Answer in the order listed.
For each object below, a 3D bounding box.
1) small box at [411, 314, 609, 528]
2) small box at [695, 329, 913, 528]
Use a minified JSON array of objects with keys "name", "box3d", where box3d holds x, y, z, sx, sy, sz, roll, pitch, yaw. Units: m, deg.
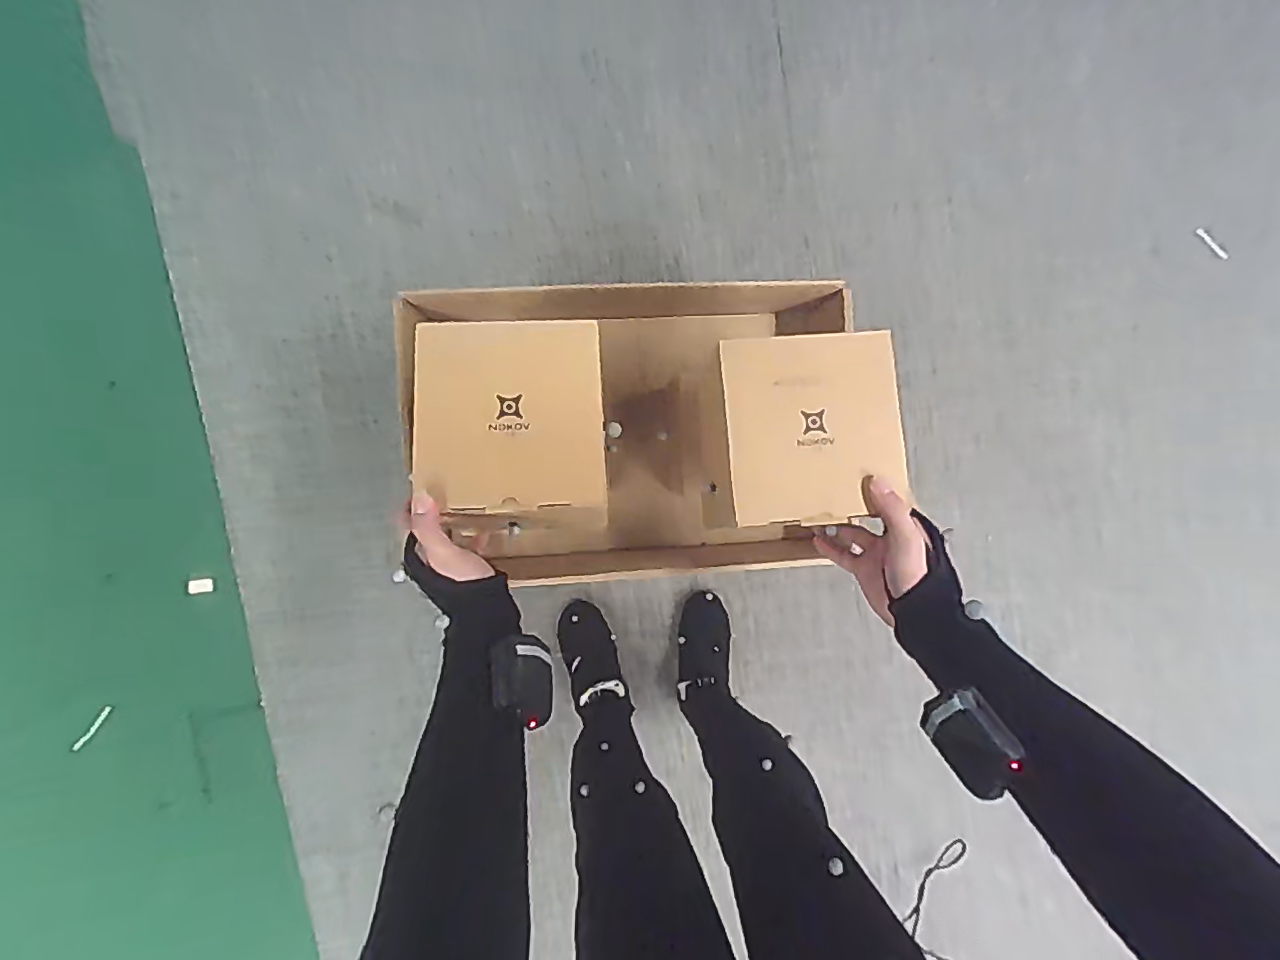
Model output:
[{"name":"small box","box3d":[-0.118,-0.048,0.548,0.168,0.176,0.179,-2,80,-5]},{"name":"small box","box3d":[0.154,-0.041,0.563,0.168,0.176,0.179,-3,83,-4]}]
